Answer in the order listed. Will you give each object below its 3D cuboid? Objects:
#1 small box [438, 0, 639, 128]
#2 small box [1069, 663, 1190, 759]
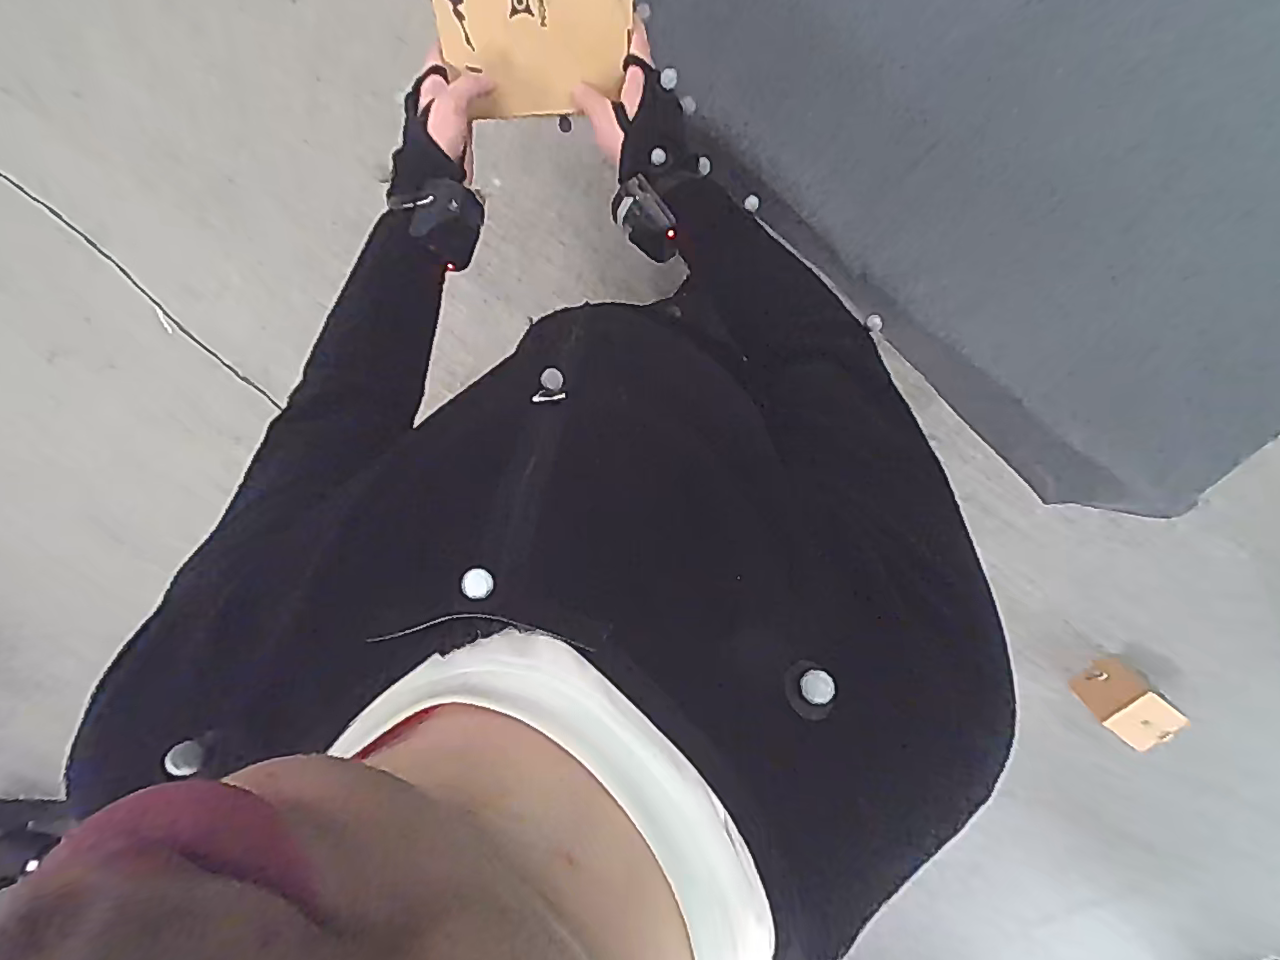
[{"bbox_3d":[-0.091,-0.457,0.547,0.179,0.176,0.168,-1,123,2],"label":"small box"},{"bbox_3d":[1.477,0.695,1.642,0.179,0.176,0.168,37,109,-8],"label":"small box"}]
